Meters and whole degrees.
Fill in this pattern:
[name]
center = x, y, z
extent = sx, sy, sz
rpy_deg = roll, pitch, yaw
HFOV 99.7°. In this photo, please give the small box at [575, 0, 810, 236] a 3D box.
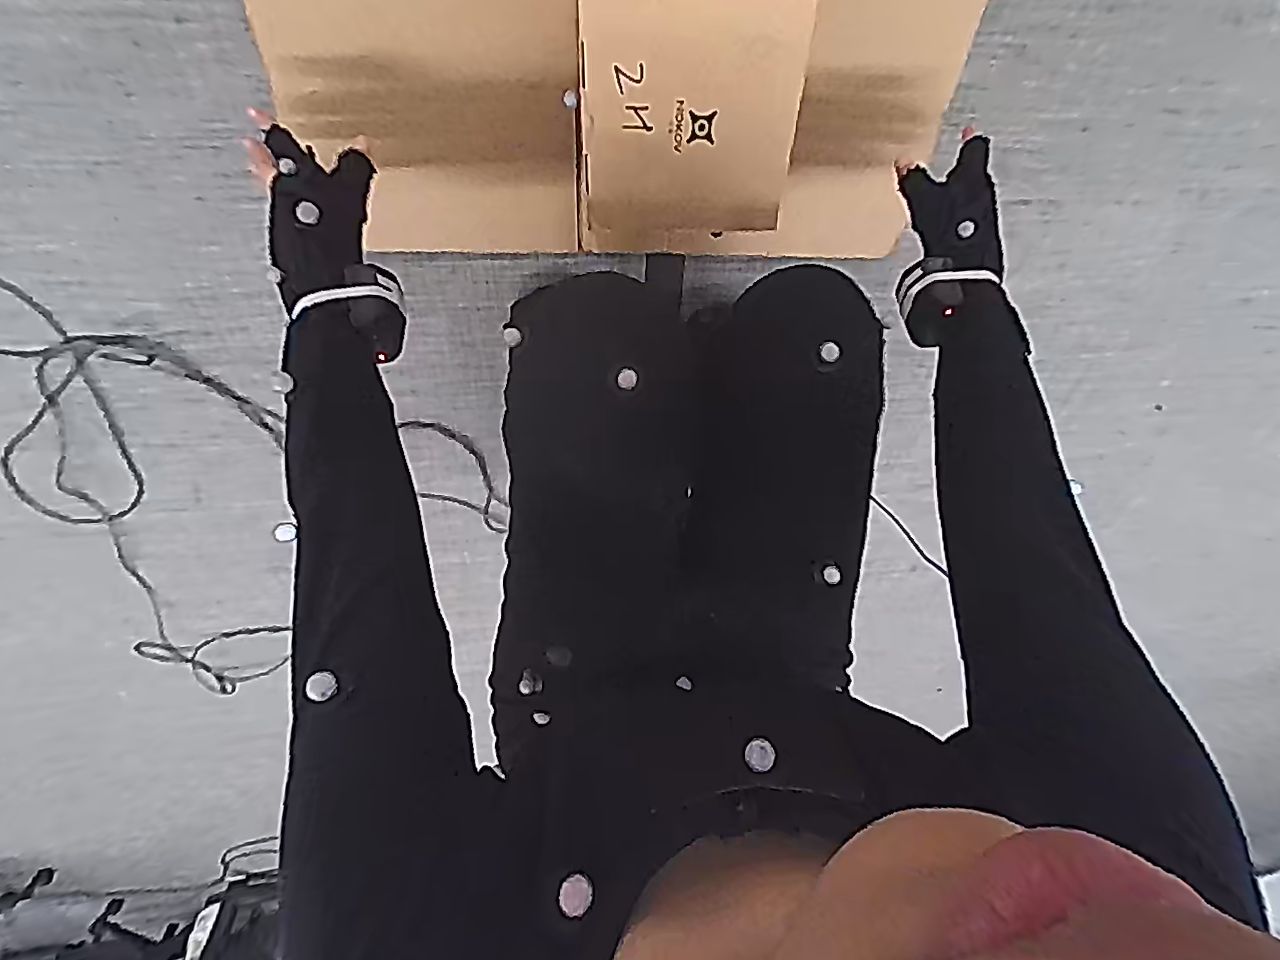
[small box]
center = 0.031, -0.341, 0.504
extent = 0.179, 0.176, 0.168
rpy_deg = -2, 132, -5
